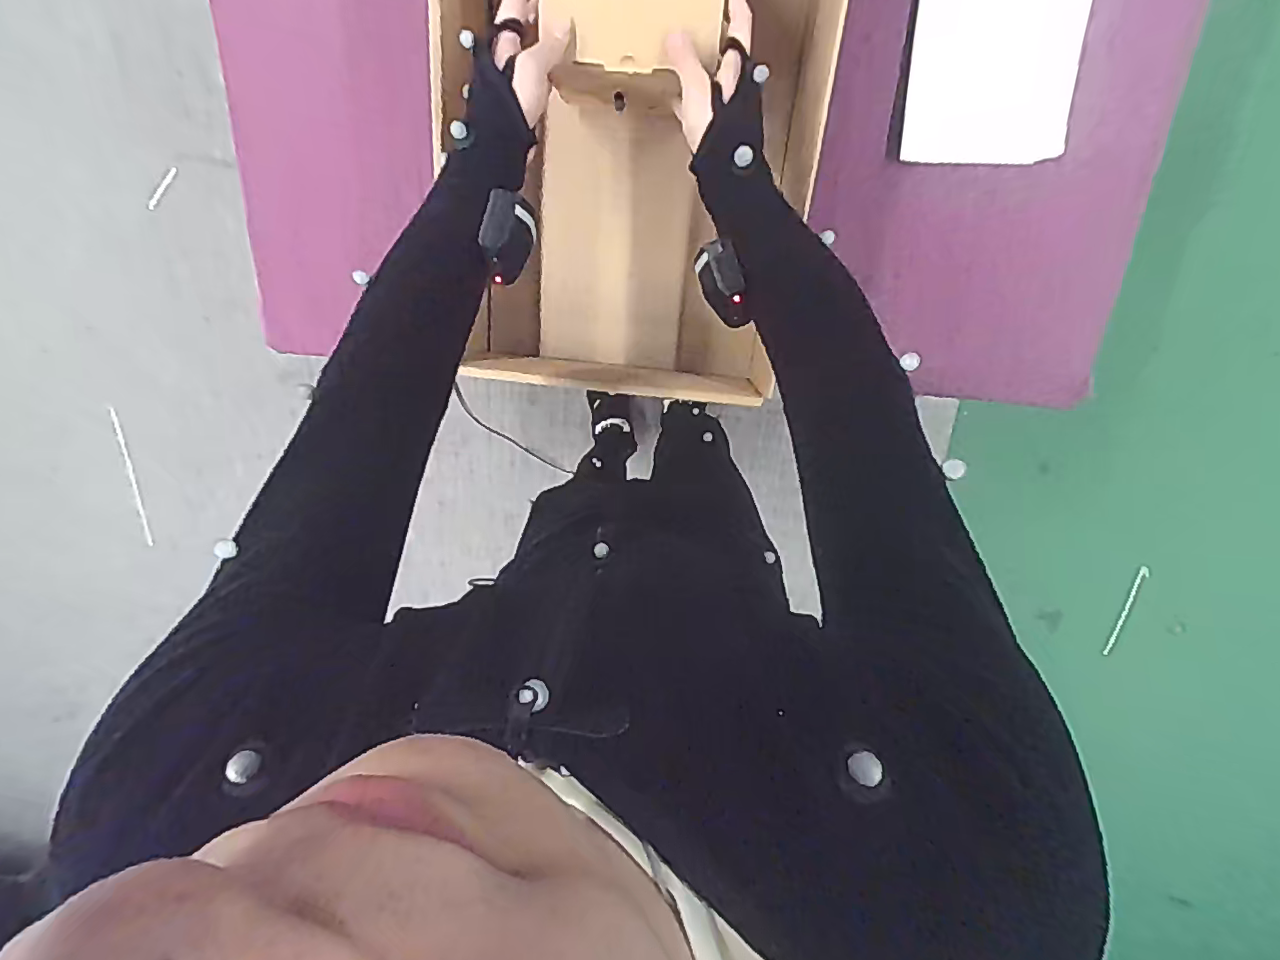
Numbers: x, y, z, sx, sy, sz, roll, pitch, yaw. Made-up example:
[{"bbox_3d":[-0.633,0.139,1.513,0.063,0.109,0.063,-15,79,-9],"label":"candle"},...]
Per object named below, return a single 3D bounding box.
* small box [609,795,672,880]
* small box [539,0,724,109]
[{"bbox_3d":[0.008,1.322,2.006,0.168,0.176,0.179,35,107,-8],"label":"small box"},{"bbox_3d":[-0.004,-0.493,0.532,0.168,0.176,0.179,4,115,-1],"label":"small box"}]
